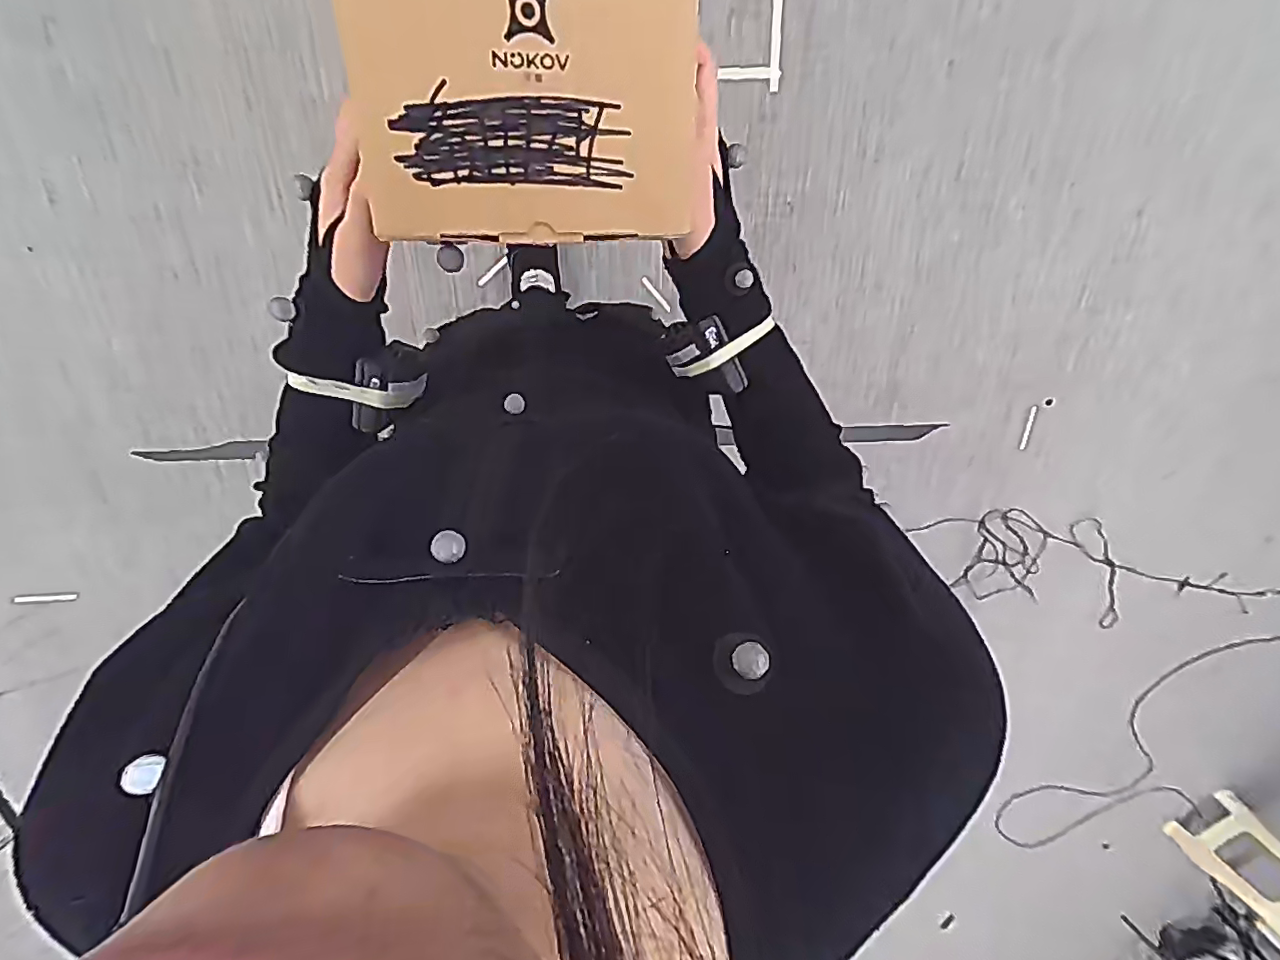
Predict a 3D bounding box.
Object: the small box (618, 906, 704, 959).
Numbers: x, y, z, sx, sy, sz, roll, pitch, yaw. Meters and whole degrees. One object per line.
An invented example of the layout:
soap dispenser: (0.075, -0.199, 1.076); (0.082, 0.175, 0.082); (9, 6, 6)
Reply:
small box: (0.042, 1.029, 1.131); (0.168, 0.176, 0.179); (-2, 114, -7)
